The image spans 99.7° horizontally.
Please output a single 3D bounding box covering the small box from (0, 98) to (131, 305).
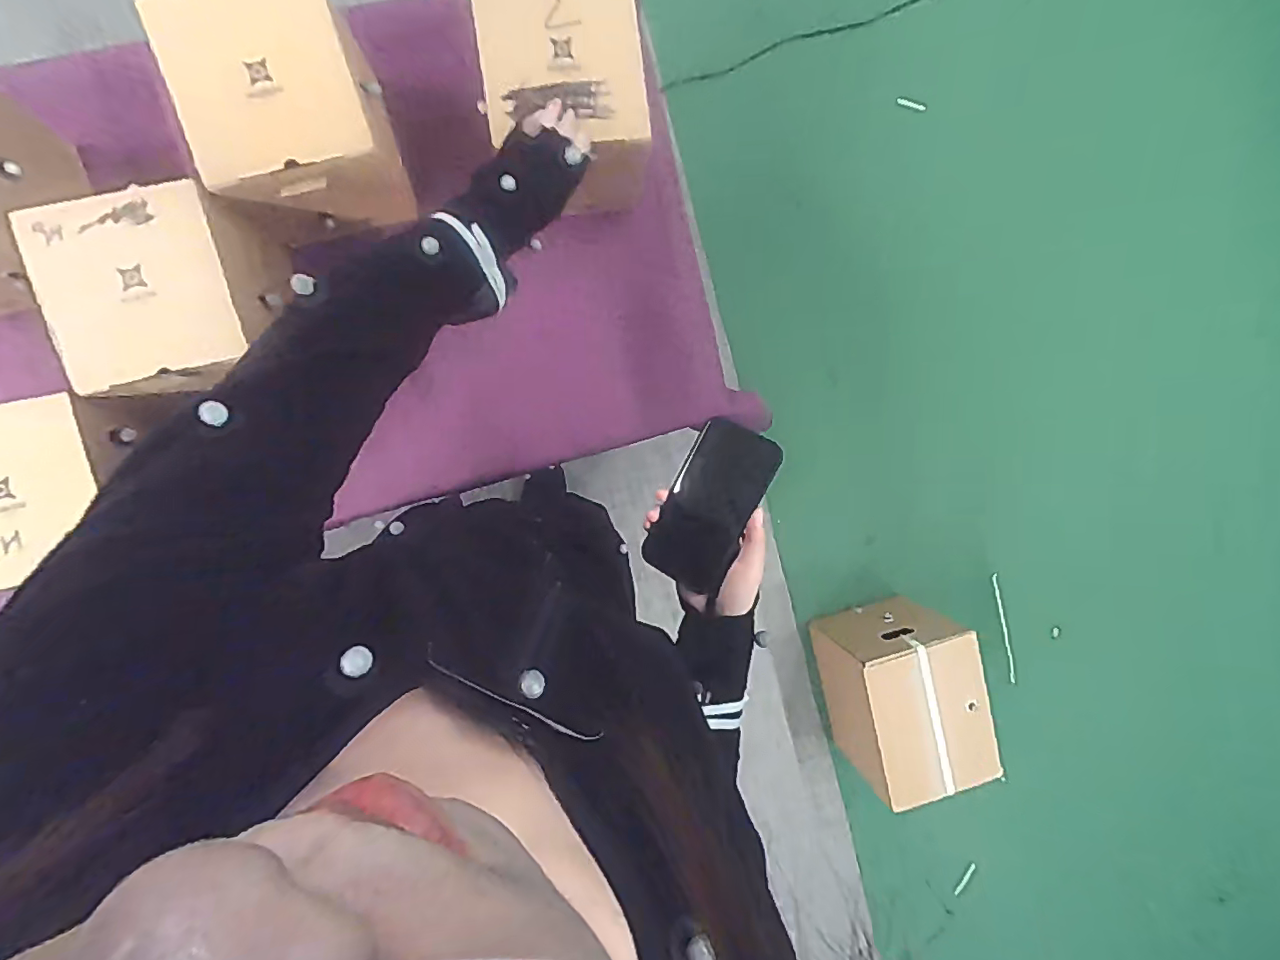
[{"bbox_3d":[-0.700,-0.293,0.564,0.168,0.176,0.179,-15,97,-7],"label":"small box"}]

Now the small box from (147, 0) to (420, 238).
[{"bbox_3d":[-0.368,-0.398,0.597,0.168,0.176,0.179,-18,99,-5],"label":"small box"}]

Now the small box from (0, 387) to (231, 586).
[{"bbox_3d":[-0.610,0.004,0.602,0.168,0.176,0.179,-13,97,-6],"label":"small box"}]
